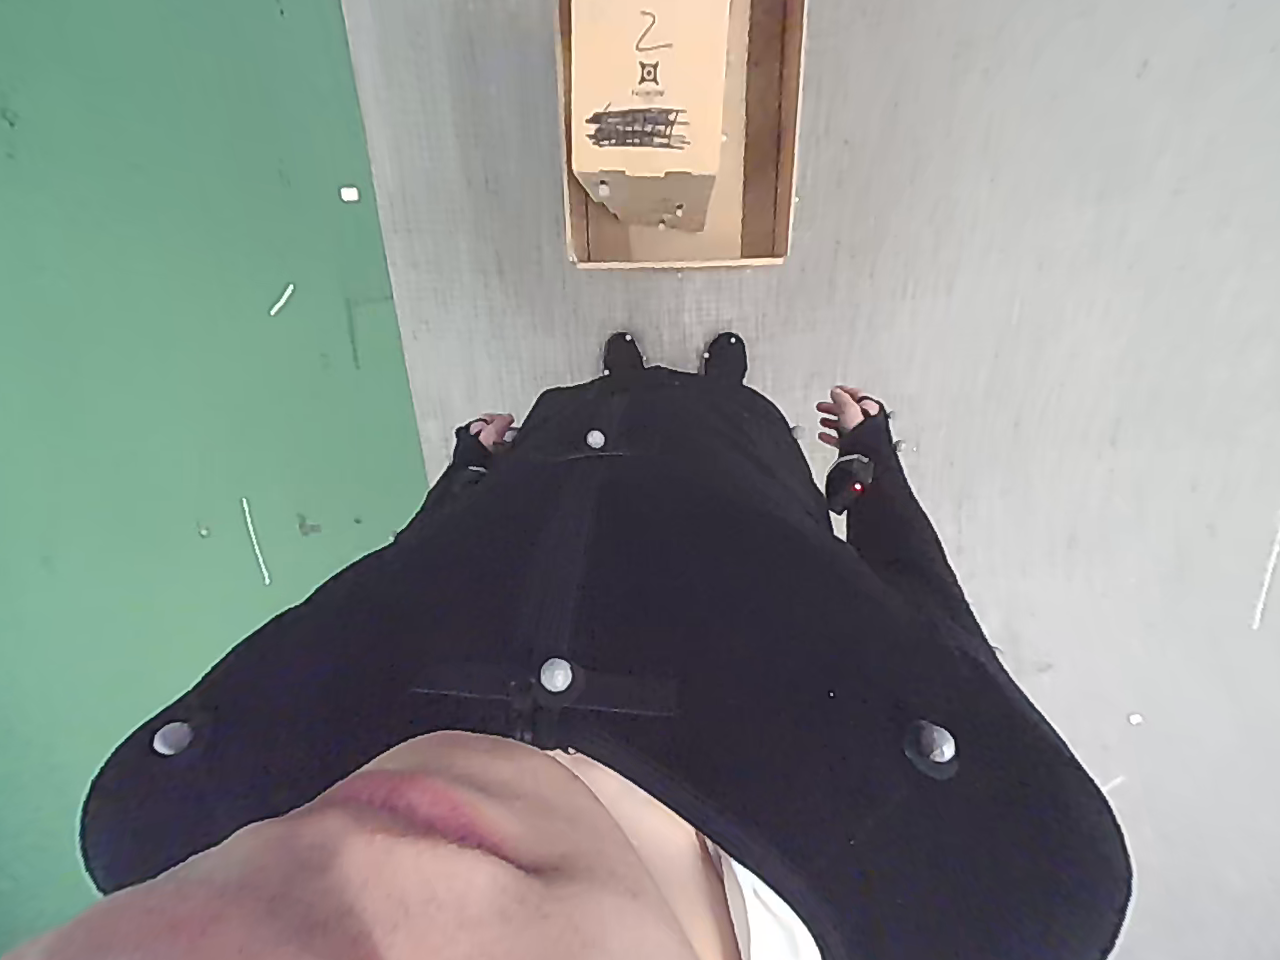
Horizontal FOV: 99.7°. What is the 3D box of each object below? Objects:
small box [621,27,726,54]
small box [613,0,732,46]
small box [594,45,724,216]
[{"bbox_3d":[0.055,-0.789,0.889,0.168,0.176,0.179,0,109,5],"label":"small box"},{"bbox_3d":[0.042,-0.736,0.736,0.168,0.176,0.179,-1,109,4],"label":"small box"},{"bbox_3d":[0.029,-0.503,0.804,0.168,0.176,0.179,5,106,3],"label":"small box"}]
